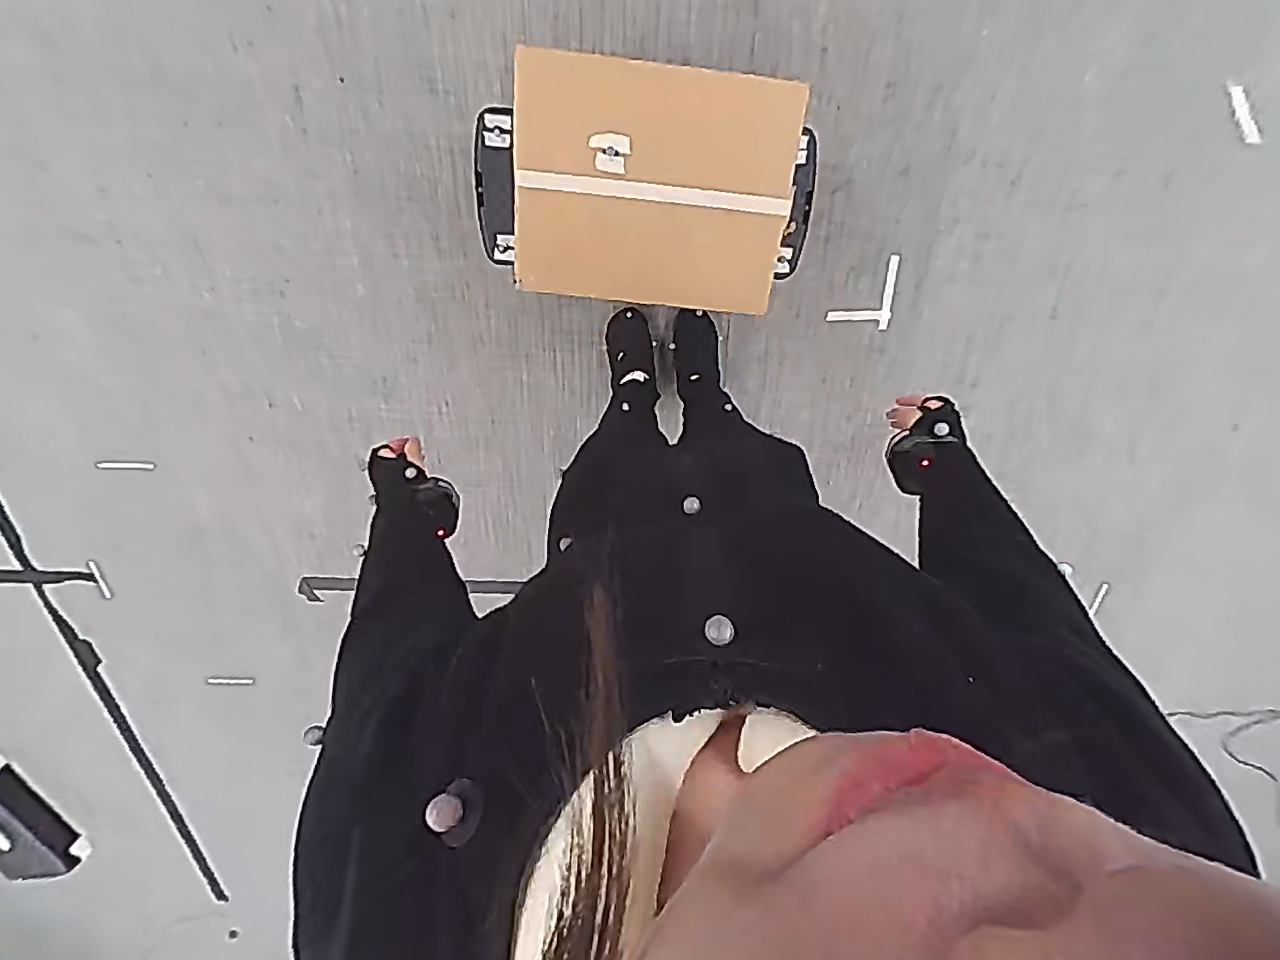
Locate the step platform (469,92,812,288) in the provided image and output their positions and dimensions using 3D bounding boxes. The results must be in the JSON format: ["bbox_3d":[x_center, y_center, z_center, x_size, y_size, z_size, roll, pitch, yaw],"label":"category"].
[{"bbox_3d":[-0.001,-0.586,1.132,0.684,0.204,0.286,7,116,-3],"label":"step platform"}]

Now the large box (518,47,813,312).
[{"bbox_3d":[0.027,-0.484,0.916,0.408,0.320,0.320,5,115,-2],"label":"large box"}]
